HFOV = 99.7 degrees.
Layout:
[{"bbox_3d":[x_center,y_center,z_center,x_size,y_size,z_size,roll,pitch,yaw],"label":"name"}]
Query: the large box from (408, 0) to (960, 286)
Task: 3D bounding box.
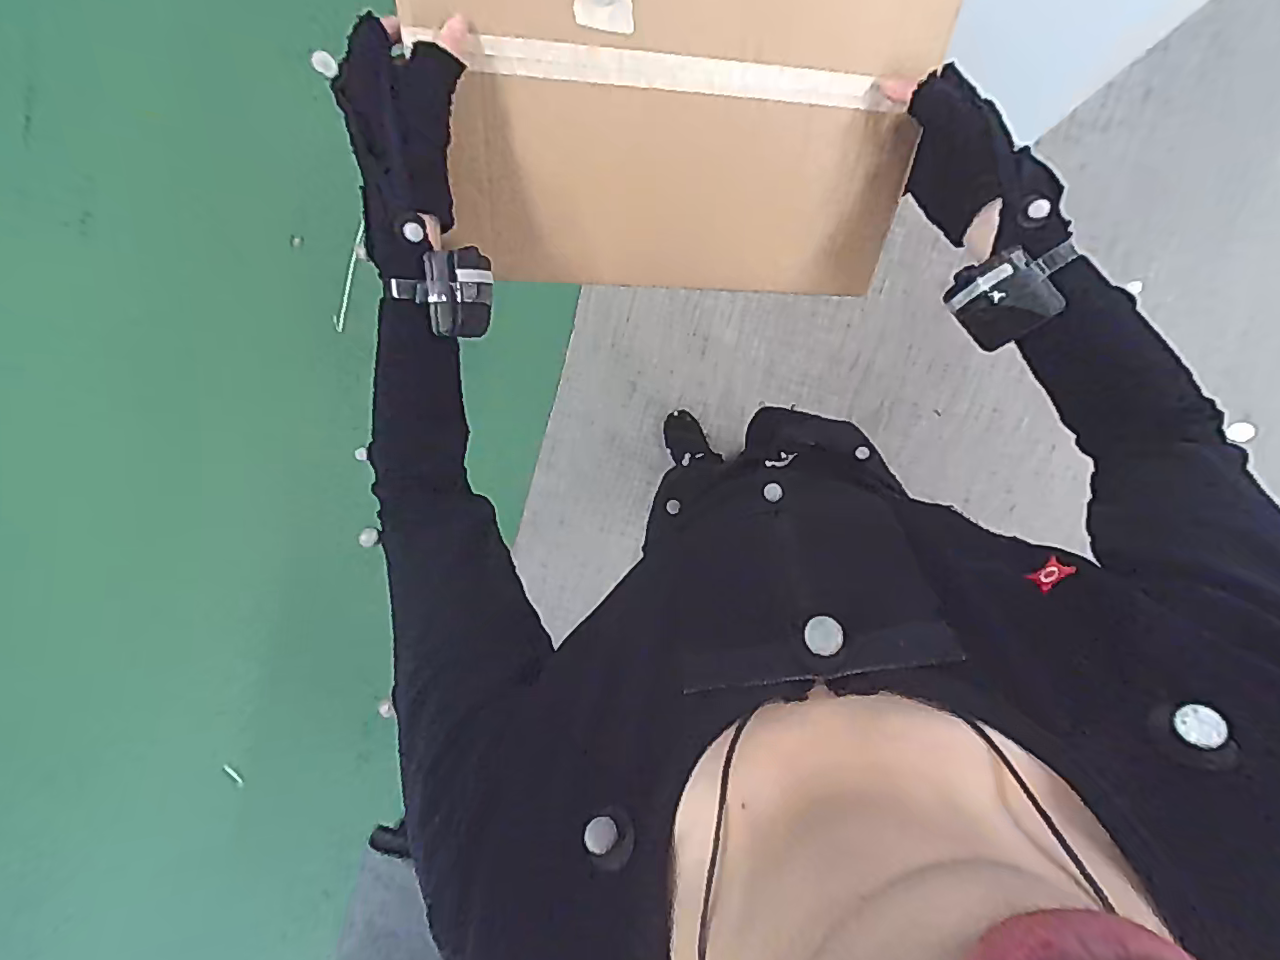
[{"bbox_3d":[0.021,-0.399,0.526,0.408,0.320,0.320,0,125,-8],"label":"large box"}]
